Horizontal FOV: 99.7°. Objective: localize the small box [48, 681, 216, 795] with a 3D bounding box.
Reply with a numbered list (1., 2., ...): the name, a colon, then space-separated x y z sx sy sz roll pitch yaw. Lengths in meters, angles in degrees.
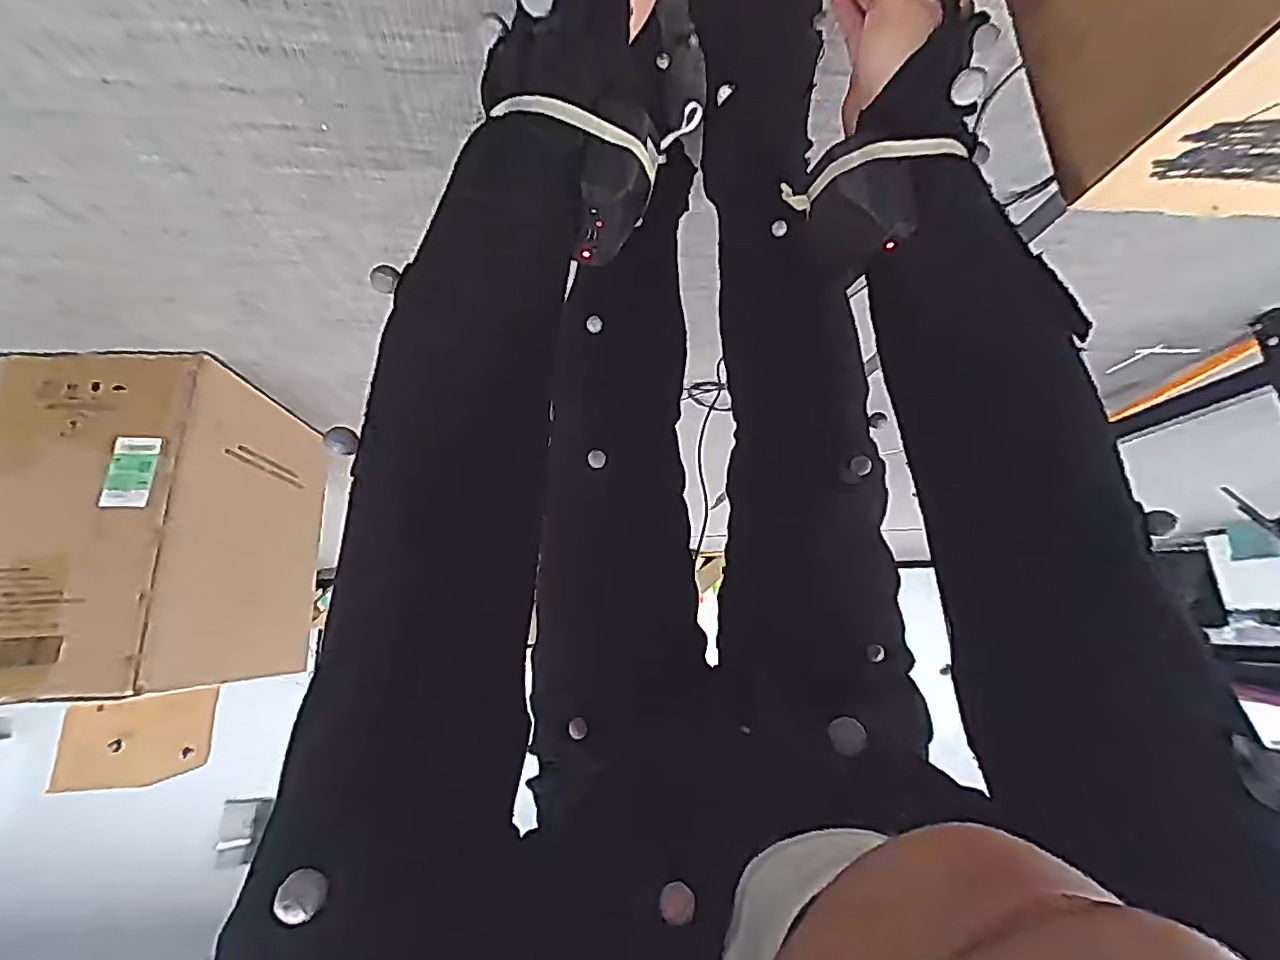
1. small box: -0.993 0.502 1.075 0.168 0.176 0.179 -2 165 -5
